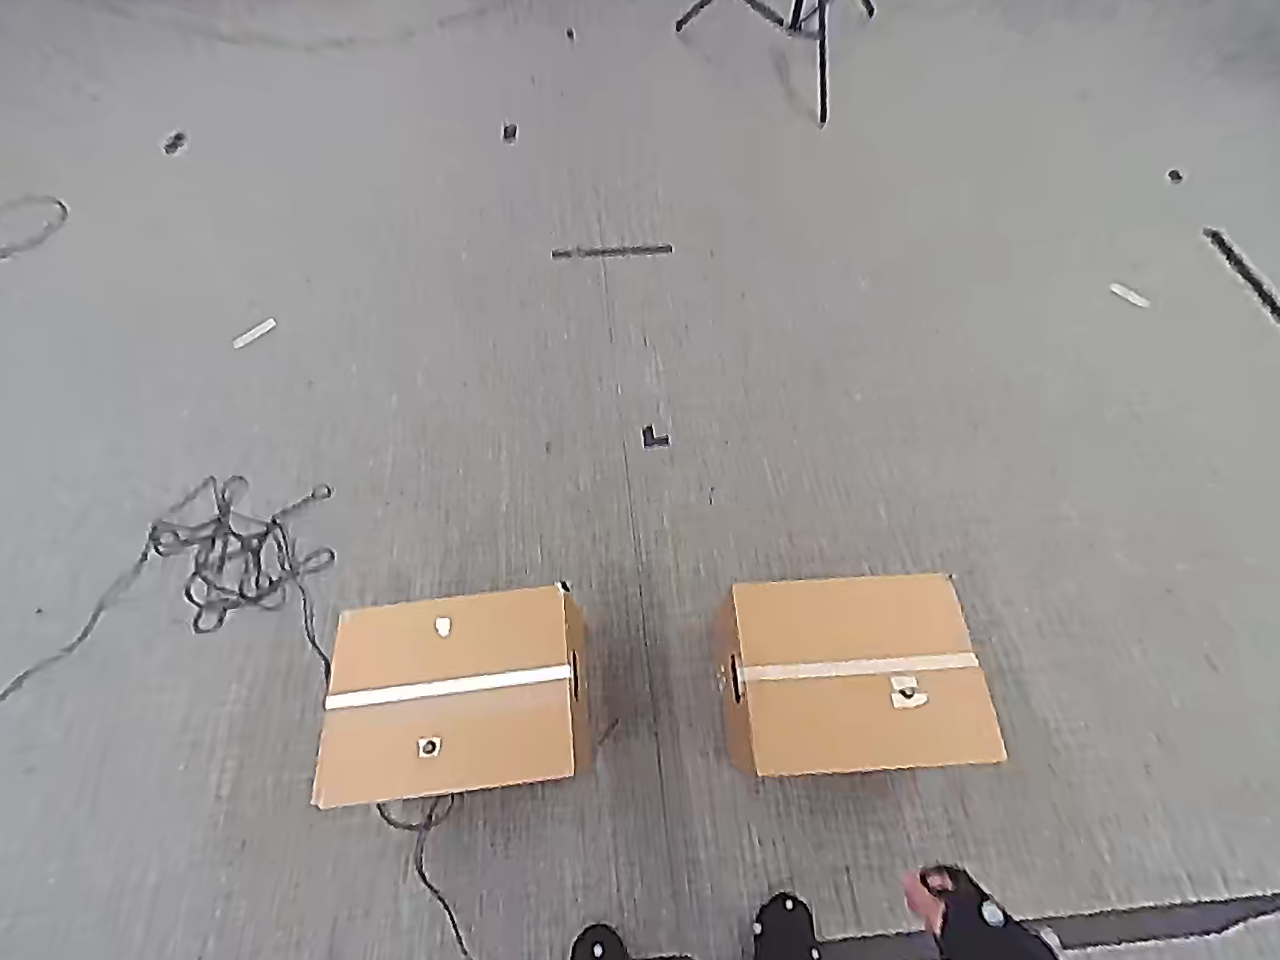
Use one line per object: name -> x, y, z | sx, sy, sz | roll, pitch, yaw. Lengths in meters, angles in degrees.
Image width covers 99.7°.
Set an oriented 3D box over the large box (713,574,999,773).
large box -> 0.377, 0.390, 1.070 | 0.408, 0.320, 0.320 | -2, 63, -1
